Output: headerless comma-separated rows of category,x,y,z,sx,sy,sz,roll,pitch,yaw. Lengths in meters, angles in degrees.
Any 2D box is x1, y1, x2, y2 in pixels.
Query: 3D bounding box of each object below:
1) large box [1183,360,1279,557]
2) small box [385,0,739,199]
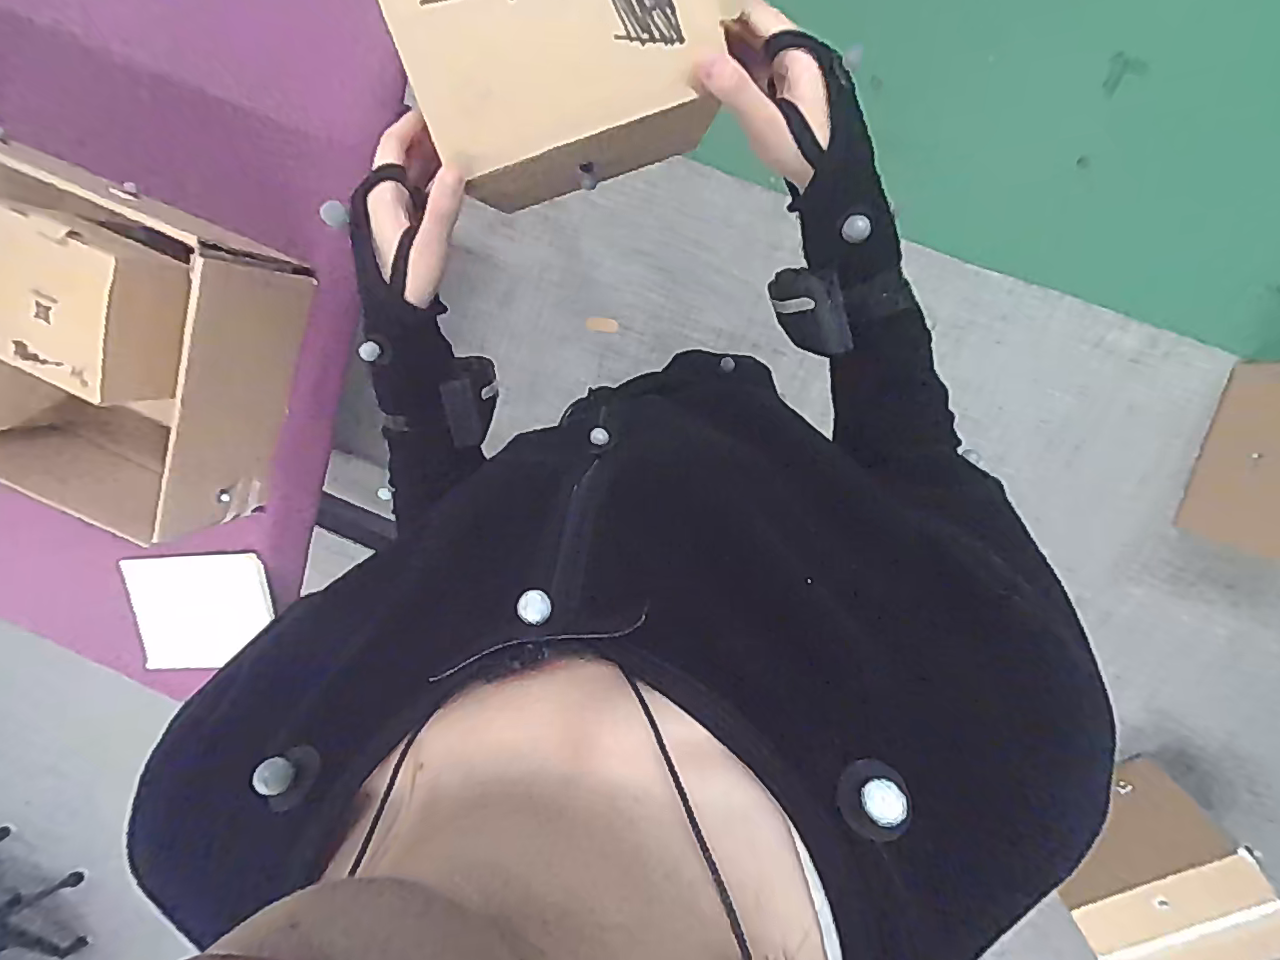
large box,1.488,-0.036,1.140,0.320,0.320,0.408,8,102,6
small box,-0.053,-0.304,0.351,0.179,0.176,0.168,-17,110,6
